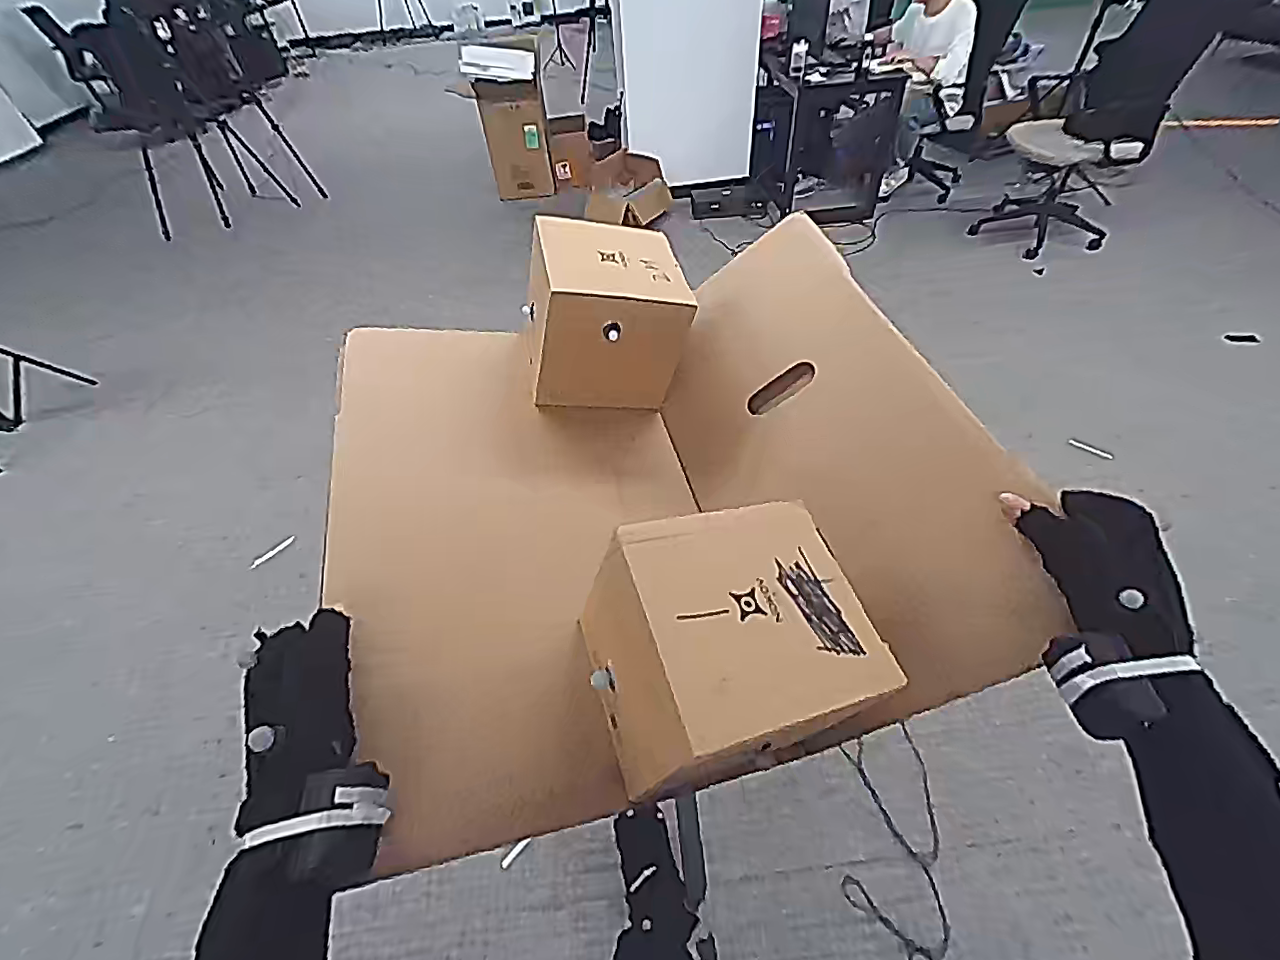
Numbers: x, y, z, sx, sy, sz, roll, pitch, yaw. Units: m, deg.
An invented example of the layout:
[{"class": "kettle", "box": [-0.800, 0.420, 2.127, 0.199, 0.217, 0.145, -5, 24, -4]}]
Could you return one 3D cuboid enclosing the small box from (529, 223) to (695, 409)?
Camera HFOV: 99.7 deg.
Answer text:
[{"class": "small box", "box": [-0.051, -0.209, 0.714, 0.179, 0.176, 0.168, 0, 52, -19]}]
